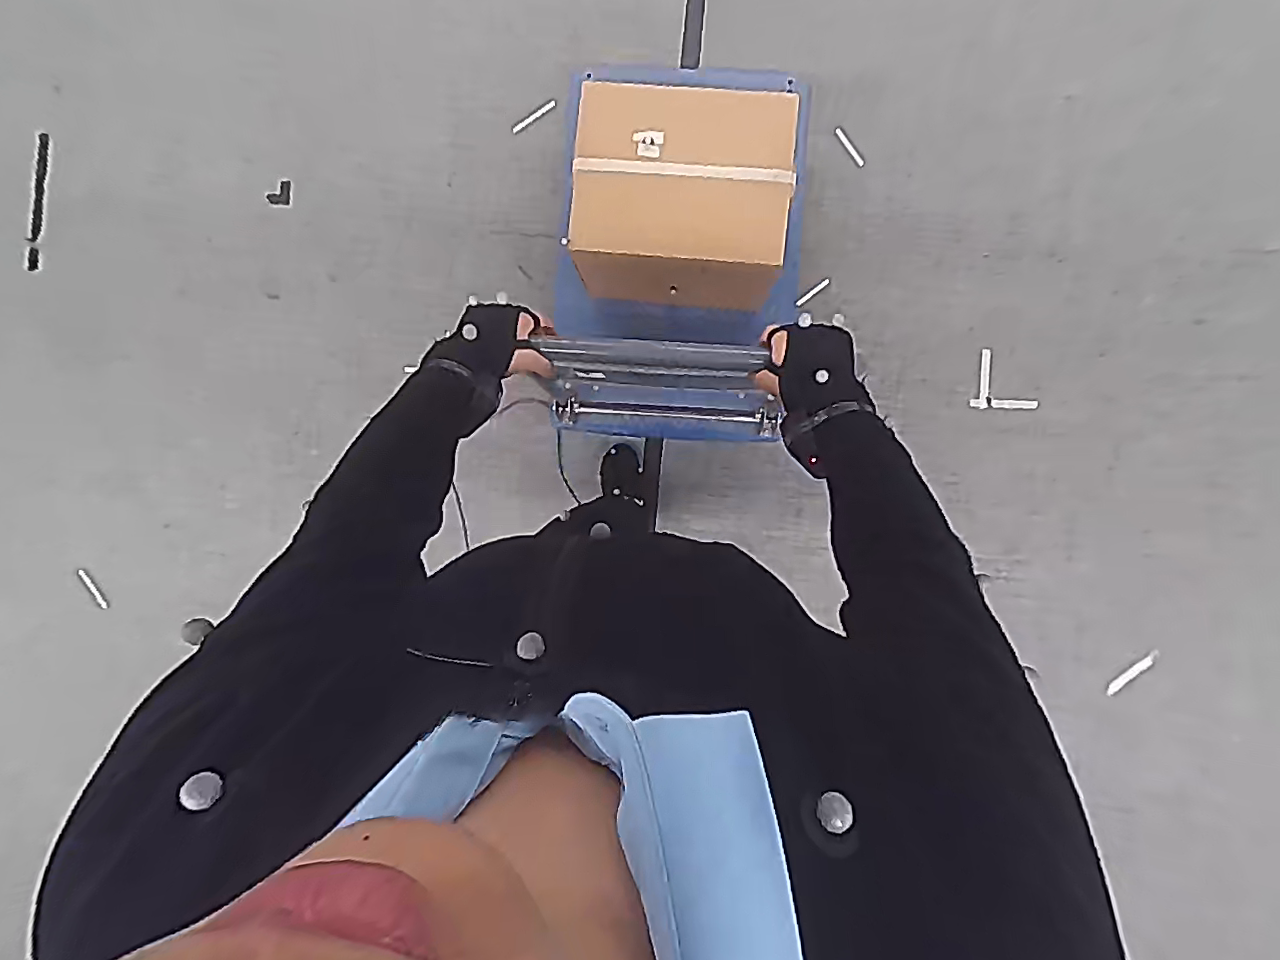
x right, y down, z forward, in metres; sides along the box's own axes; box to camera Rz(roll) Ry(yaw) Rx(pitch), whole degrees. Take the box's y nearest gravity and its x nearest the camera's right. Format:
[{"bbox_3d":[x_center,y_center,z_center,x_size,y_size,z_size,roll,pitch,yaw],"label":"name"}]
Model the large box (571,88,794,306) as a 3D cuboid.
[{"bbox_3d":[0.089,-0.579,1.161,0.408,0.320,0.320,5,91,4],"label":"large box"}]
